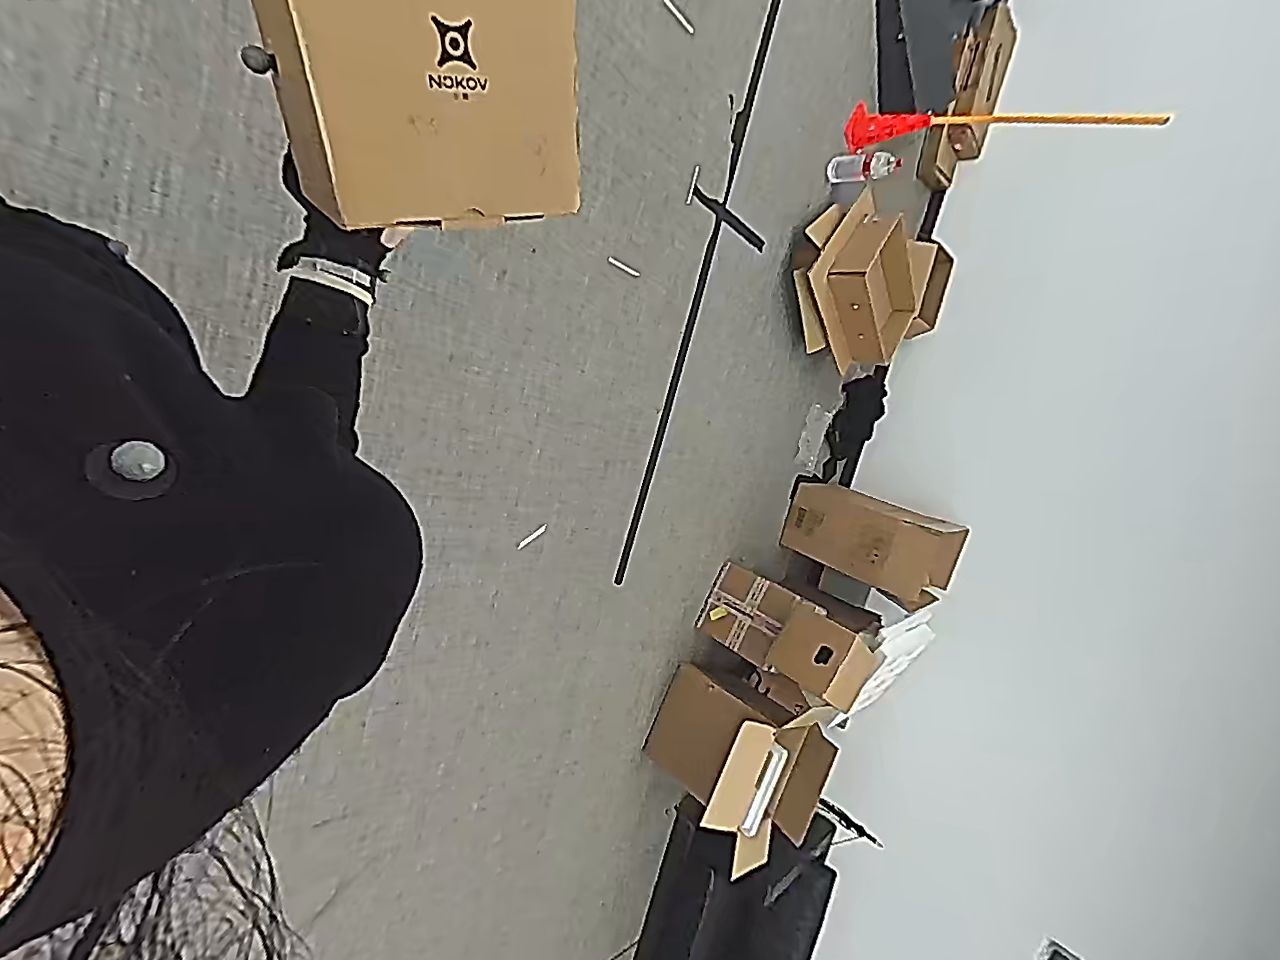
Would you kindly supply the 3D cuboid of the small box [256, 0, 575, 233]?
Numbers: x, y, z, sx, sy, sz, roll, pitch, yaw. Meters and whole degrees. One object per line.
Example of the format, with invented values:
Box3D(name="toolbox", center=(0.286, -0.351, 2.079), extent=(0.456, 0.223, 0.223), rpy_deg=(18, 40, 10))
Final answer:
Box3D(name="small box", center=(-0.158, -0.288, 0.384), extent=(0.168, 0.176, 0.179), rpy_deg=(-19, 130, -30))
